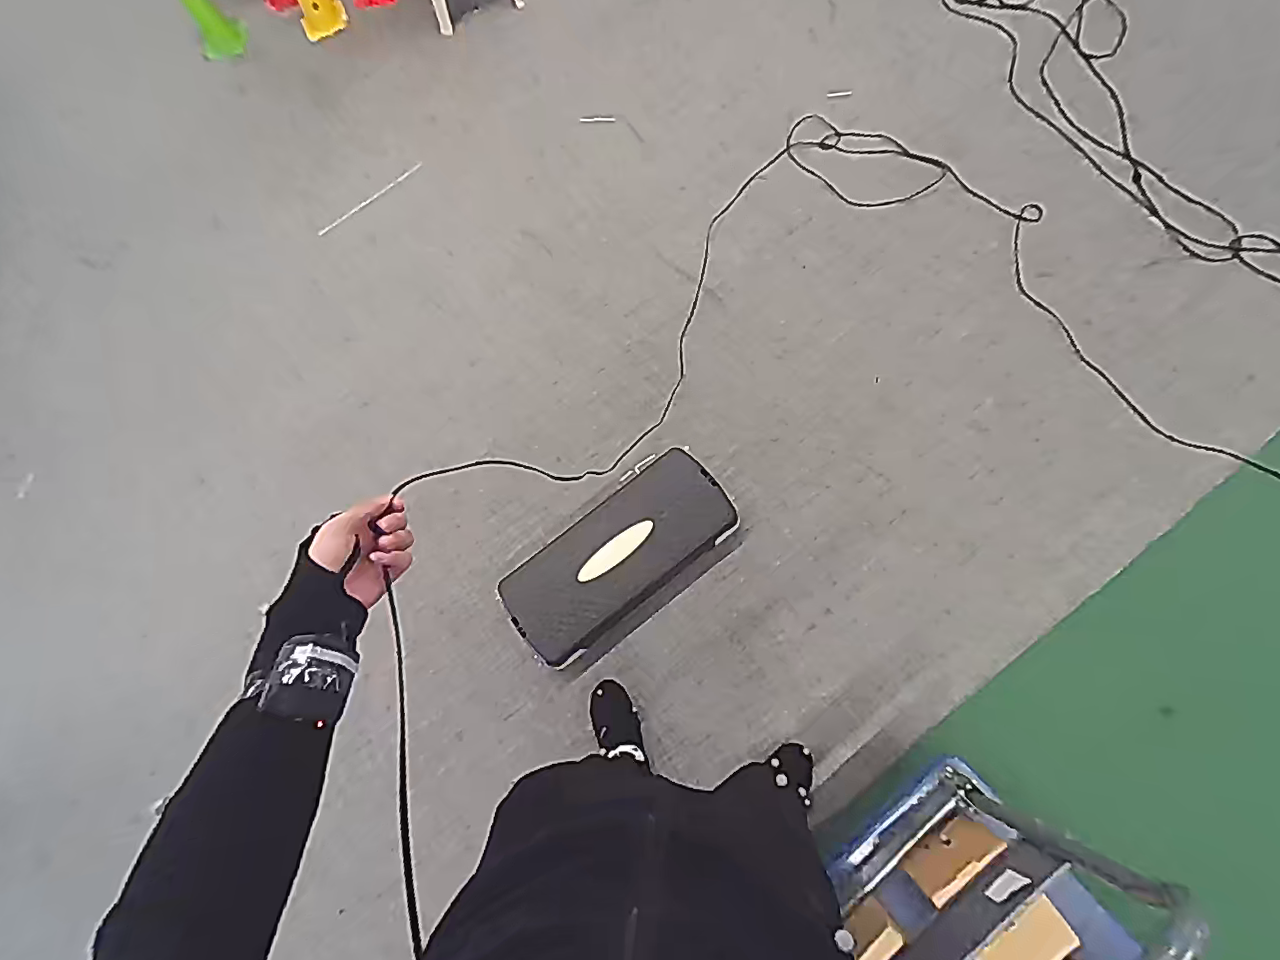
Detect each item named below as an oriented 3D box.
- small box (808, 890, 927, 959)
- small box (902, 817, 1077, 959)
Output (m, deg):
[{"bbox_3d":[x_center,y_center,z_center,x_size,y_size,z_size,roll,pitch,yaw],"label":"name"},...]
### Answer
[{"bbox_3d":[0.427,0.897,0.971,0.179,0.176,0.168,-43,72,-6],"label":"small box"},{"bbox_3d":[0.622,0.764,0.989,0.168,0.176,0.179,-34,71,-3],"label":"small box"}]
